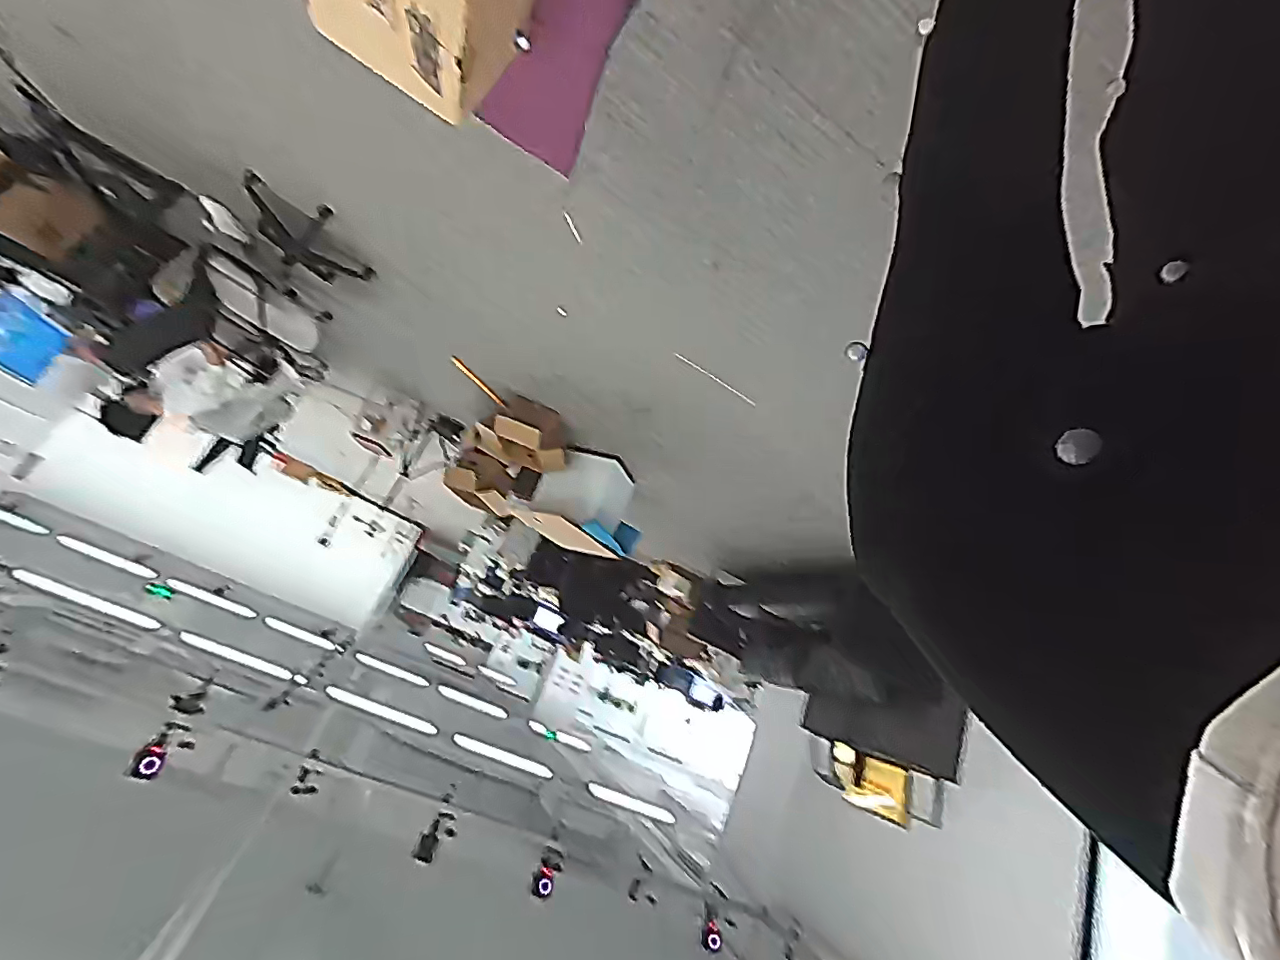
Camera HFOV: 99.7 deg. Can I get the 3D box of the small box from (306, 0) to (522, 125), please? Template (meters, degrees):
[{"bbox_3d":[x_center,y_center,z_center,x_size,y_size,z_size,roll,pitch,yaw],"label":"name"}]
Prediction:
[{"bbox_3d":[-0.227,-0.541,0.569,0.179,0.176,0.168,31,159,-14],"label":"small box"}]
